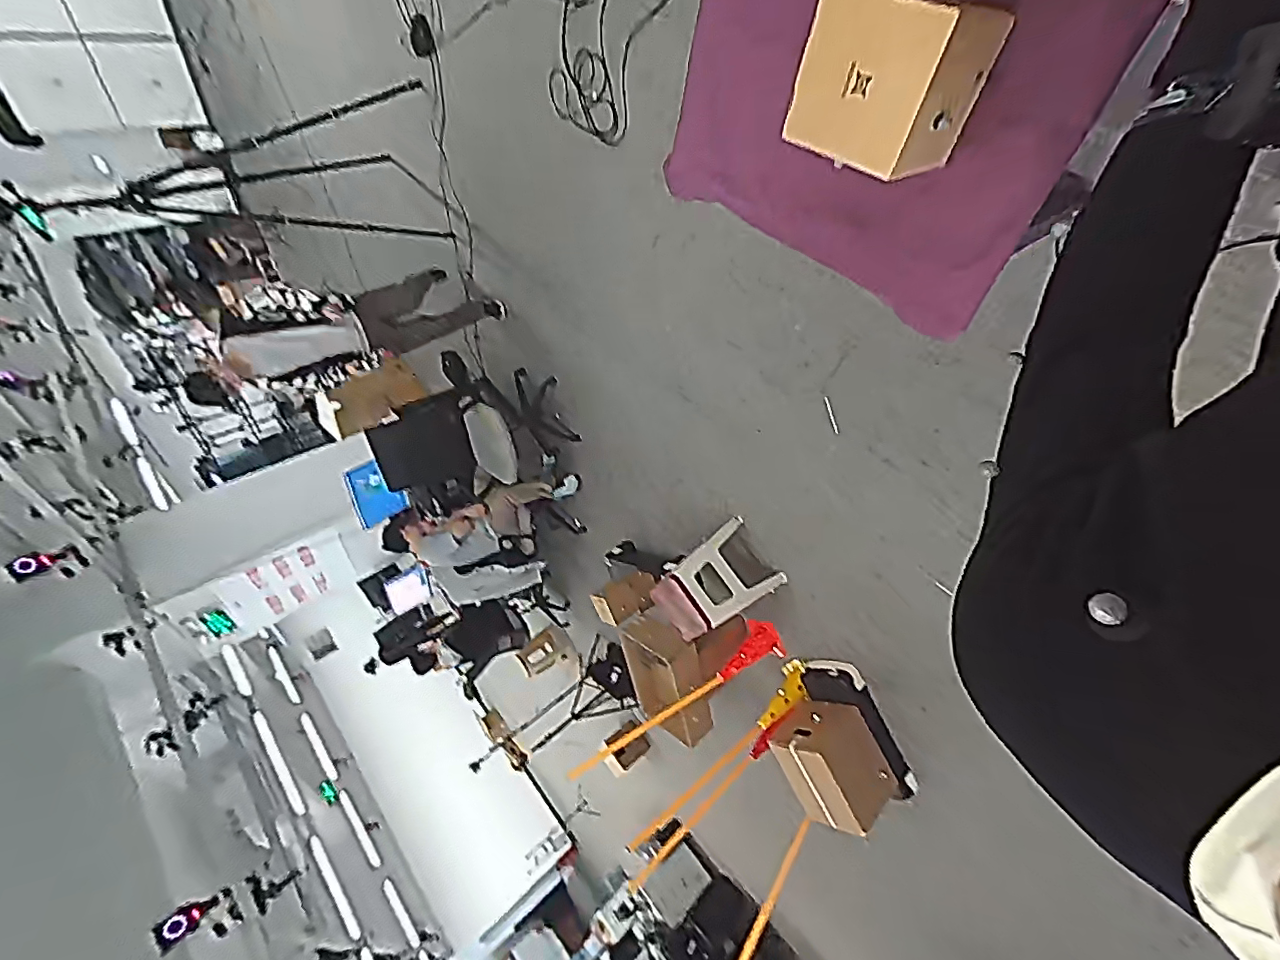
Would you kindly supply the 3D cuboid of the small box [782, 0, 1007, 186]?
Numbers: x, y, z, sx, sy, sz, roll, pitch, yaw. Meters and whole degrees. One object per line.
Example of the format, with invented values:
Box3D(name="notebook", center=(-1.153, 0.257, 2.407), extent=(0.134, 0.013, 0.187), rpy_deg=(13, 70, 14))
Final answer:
Box3D(name="small box", center=(0.321, -0.505, 0.694), extent=(0.179, 0.176, 0.168), rpy_deg=(42, 143, 27))
